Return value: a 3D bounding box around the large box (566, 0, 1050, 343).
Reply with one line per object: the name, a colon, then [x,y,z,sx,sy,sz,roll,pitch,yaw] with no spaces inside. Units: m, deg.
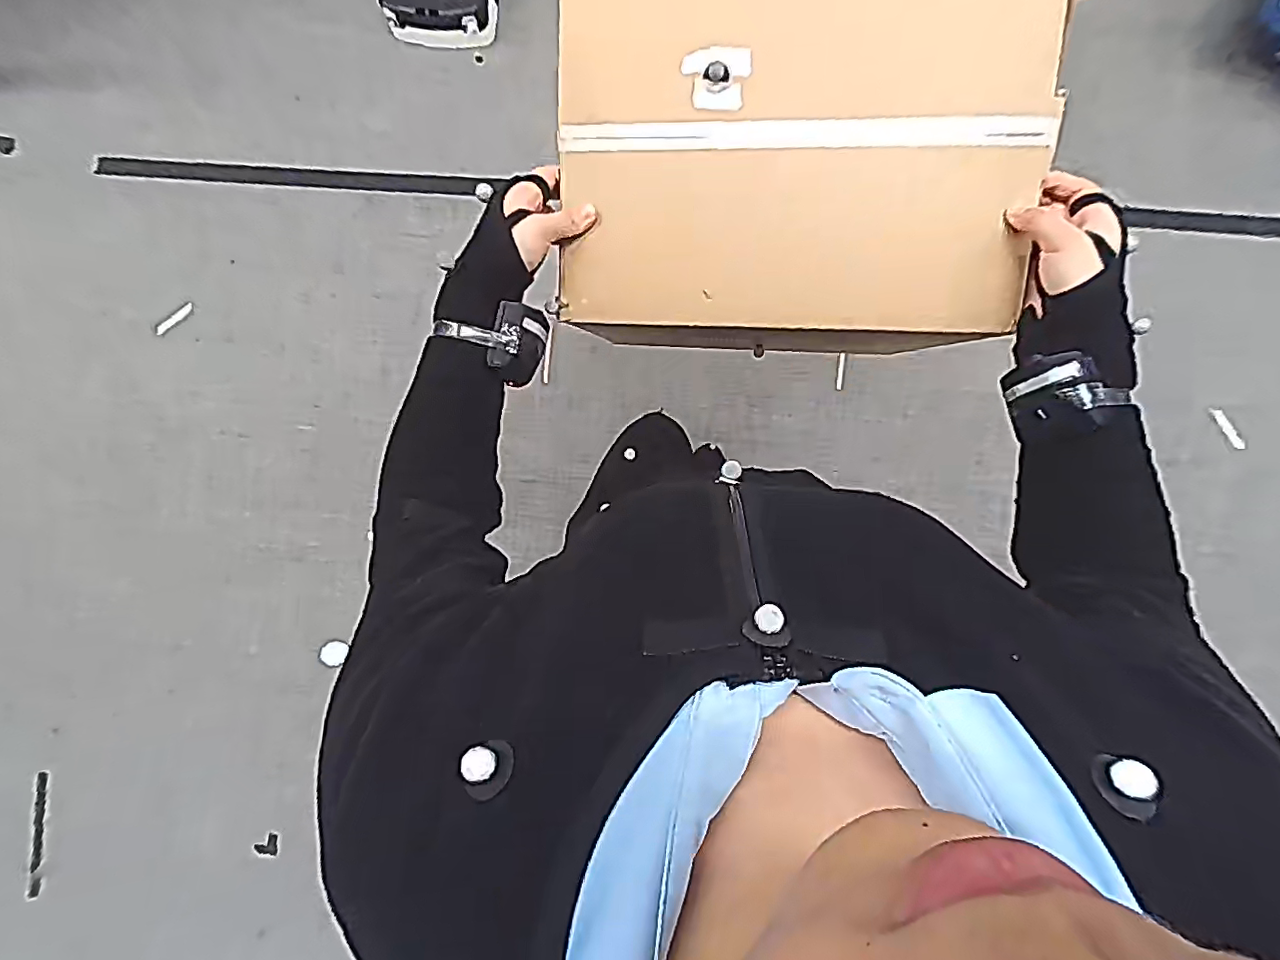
large box: [0.150,-0.323,0.616,0.408,0.320,0.320,3,99,7]
